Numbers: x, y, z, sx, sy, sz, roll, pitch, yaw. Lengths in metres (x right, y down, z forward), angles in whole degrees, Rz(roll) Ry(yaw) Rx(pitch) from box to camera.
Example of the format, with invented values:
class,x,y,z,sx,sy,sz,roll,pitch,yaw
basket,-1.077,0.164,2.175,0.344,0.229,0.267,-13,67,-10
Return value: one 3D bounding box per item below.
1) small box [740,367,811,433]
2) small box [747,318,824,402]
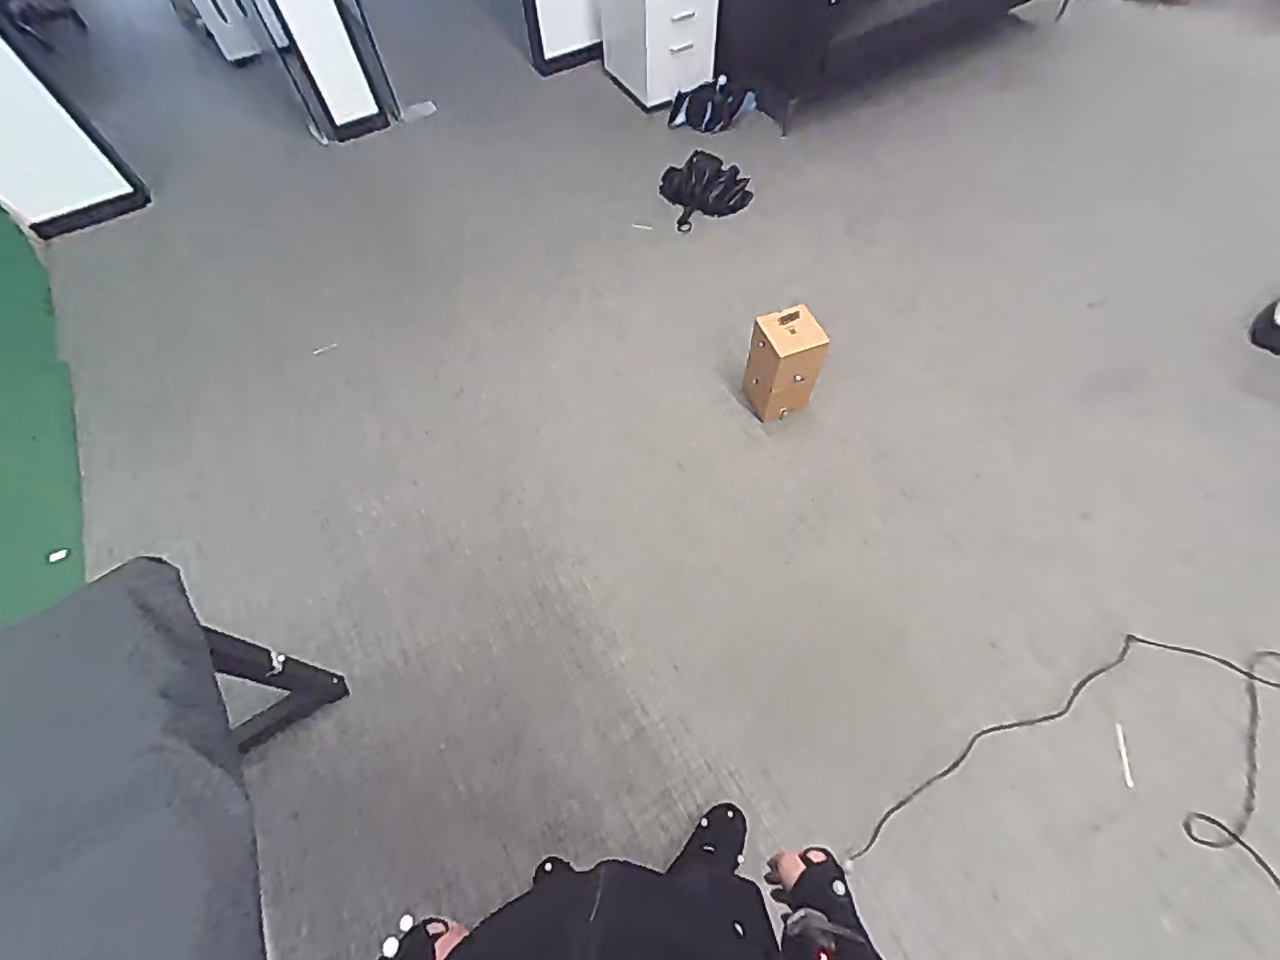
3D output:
class,x,y,z,sx,sy,sz,roll,pitch,yaw
small box,0.457,-0.294,1.861,0.168,0.176,0.179,-19,62,-8
small box,0.453,-0.378,1.719,0.168,0.176,0.179,-18,61,-7
